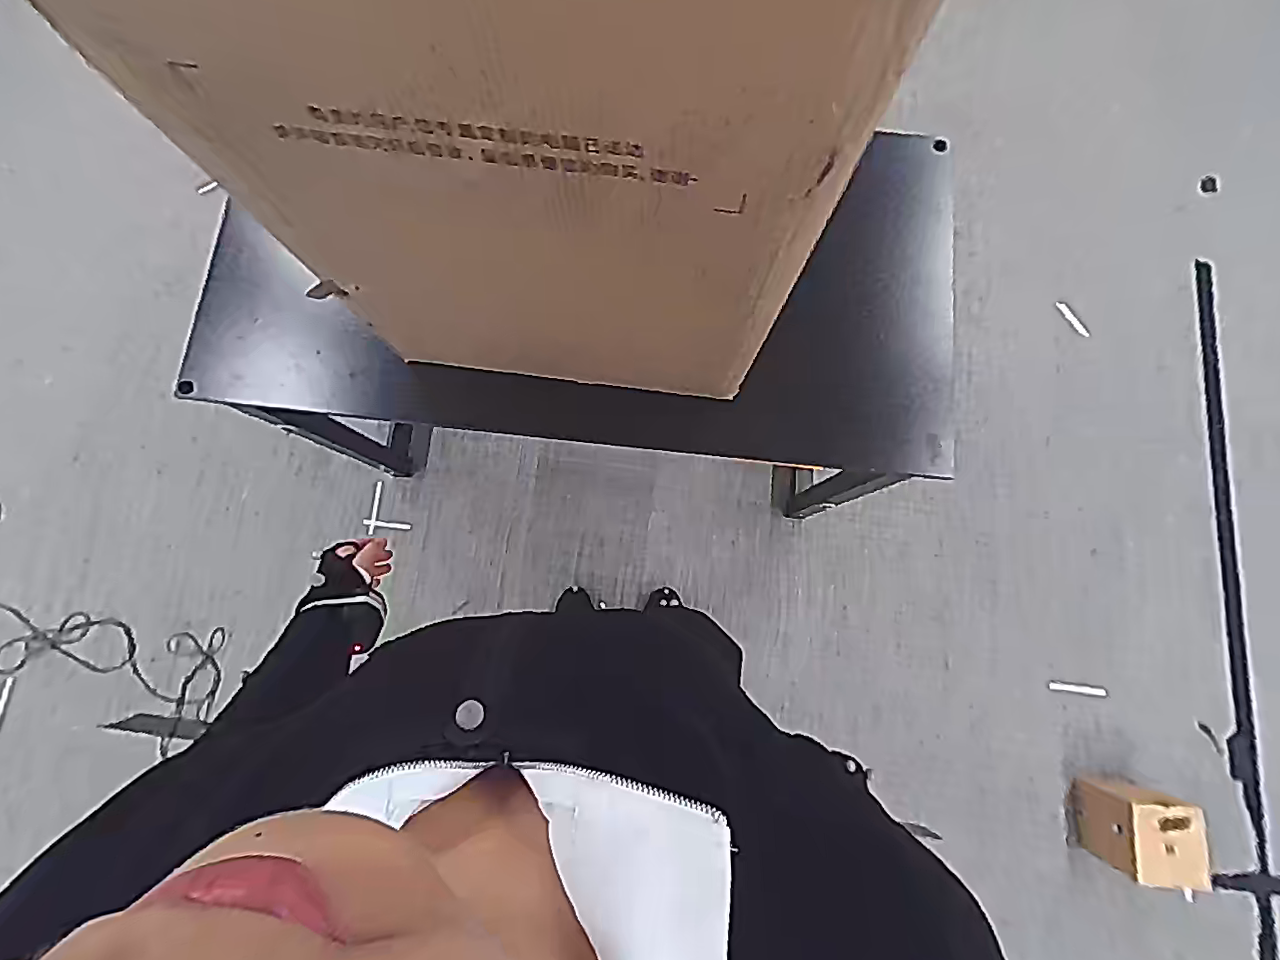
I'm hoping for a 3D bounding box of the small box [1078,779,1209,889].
[{"bbox_3d":[1.220,0.856,1.324,0.168,0.176,0.179,4,80,0],"label":"small box"}]
